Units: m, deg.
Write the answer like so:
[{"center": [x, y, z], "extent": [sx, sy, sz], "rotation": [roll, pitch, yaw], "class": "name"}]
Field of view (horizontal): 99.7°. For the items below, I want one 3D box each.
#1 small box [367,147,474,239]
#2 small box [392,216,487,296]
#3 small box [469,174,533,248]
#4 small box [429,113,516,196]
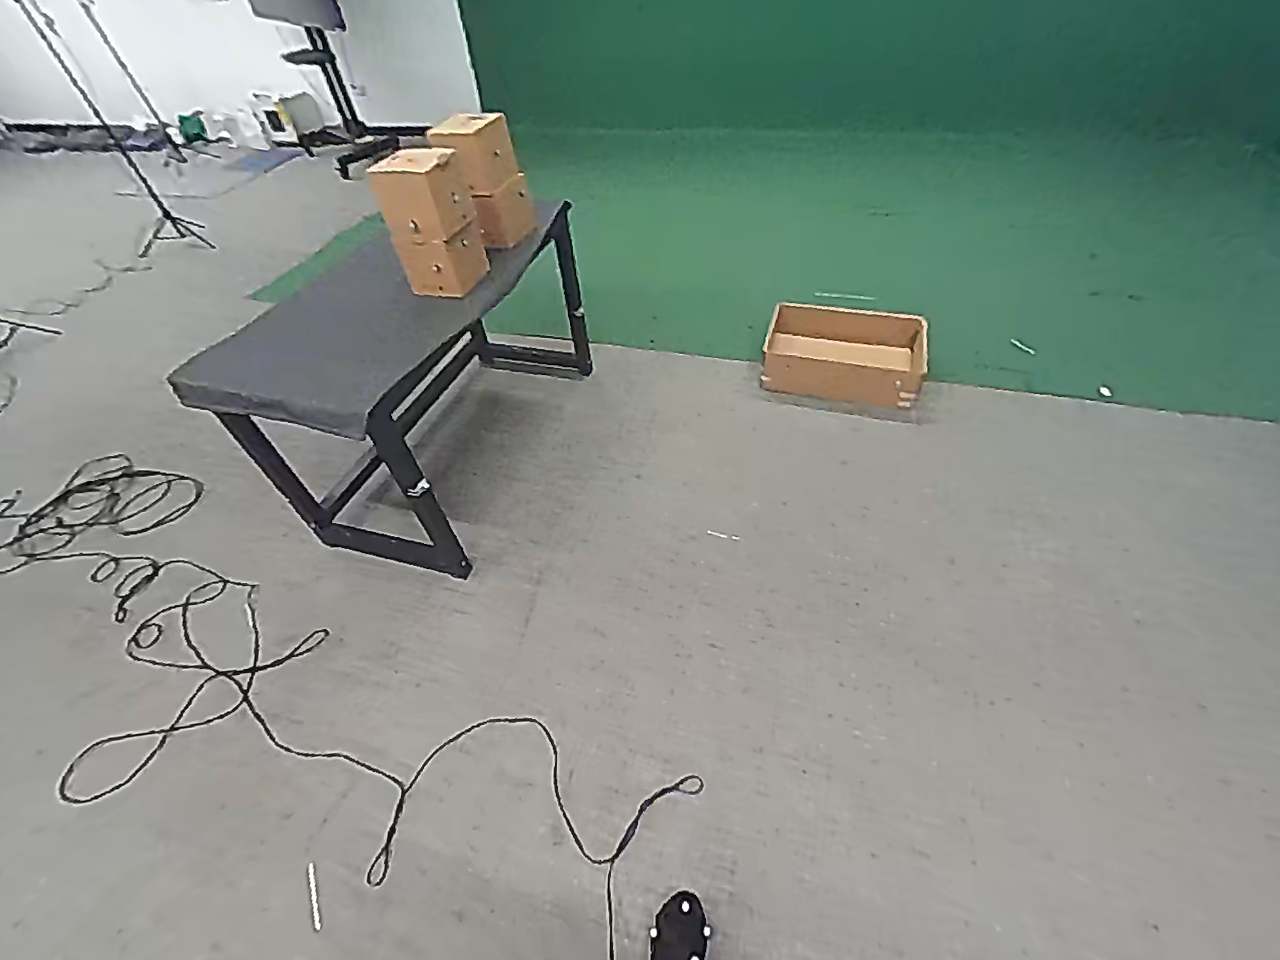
[{"center": [-0.566, -0.754, 1.426], "extent": [0.179, 0.176, 0.168], "rotation": [10, 50, 14], "class": "small box"}, {"center": [-0.563, -0.646, 1.551], "extent": [0.168, 0.176, 0.179], "rotation": [10, 48, 14], "class": "small box"}, {"center": [-0.462, -0.873, 1.746], "extent": [0.168, 0.176, 0.179], "rotation": [13, 51, 19], "class": "small box"}, {"center": [-0.492, -0.977, 1.621], "extent": [0.168, 0.176, 0.179], "rotation": [12, 51, 18], "class": "small box"}]
